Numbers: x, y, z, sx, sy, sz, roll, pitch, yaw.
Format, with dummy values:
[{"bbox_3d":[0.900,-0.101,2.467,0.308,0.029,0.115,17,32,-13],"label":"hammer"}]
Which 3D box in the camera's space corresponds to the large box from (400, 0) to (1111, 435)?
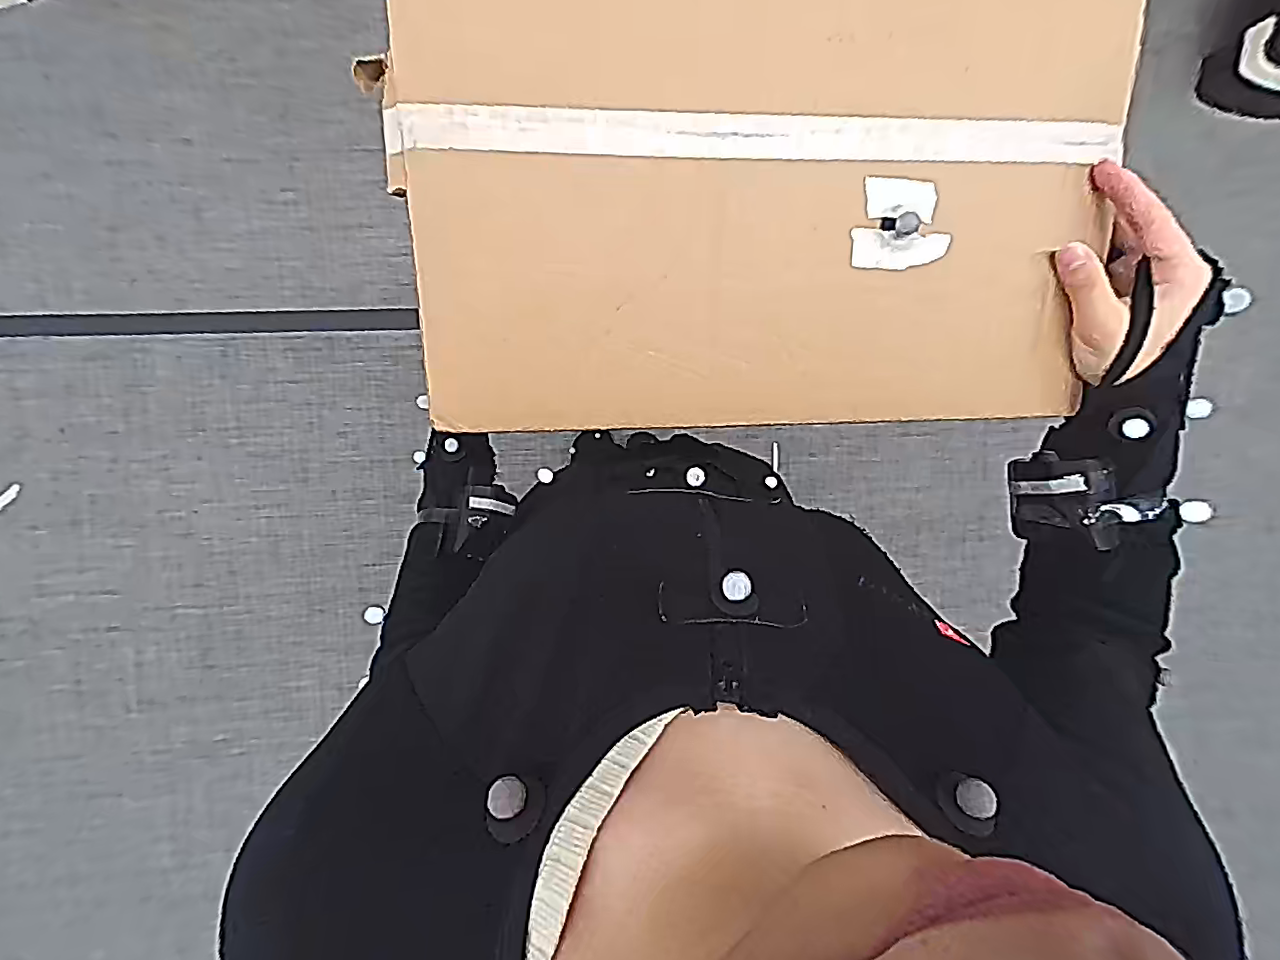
[{"bbox_3d":[0.057,-0.218,0.453,0.408,0.320,0.320,-3,103,-7],"label":"large box"}]
